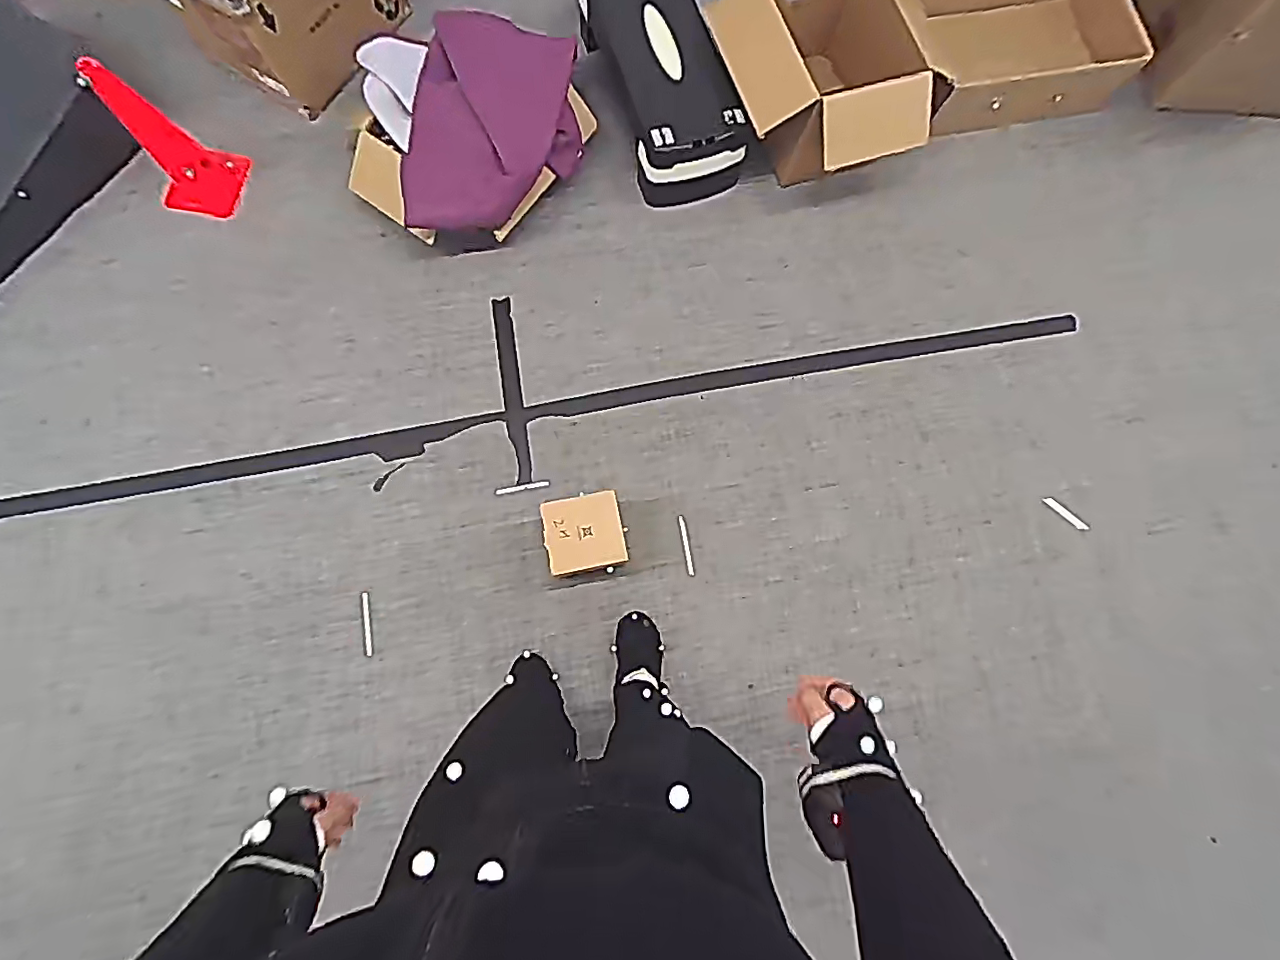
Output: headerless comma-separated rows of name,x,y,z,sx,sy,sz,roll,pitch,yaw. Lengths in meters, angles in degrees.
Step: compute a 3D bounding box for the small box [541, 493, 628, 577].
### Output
small box,-0.131,0.135,1.293,0.179,0.176,0.168,-11,80,-5
